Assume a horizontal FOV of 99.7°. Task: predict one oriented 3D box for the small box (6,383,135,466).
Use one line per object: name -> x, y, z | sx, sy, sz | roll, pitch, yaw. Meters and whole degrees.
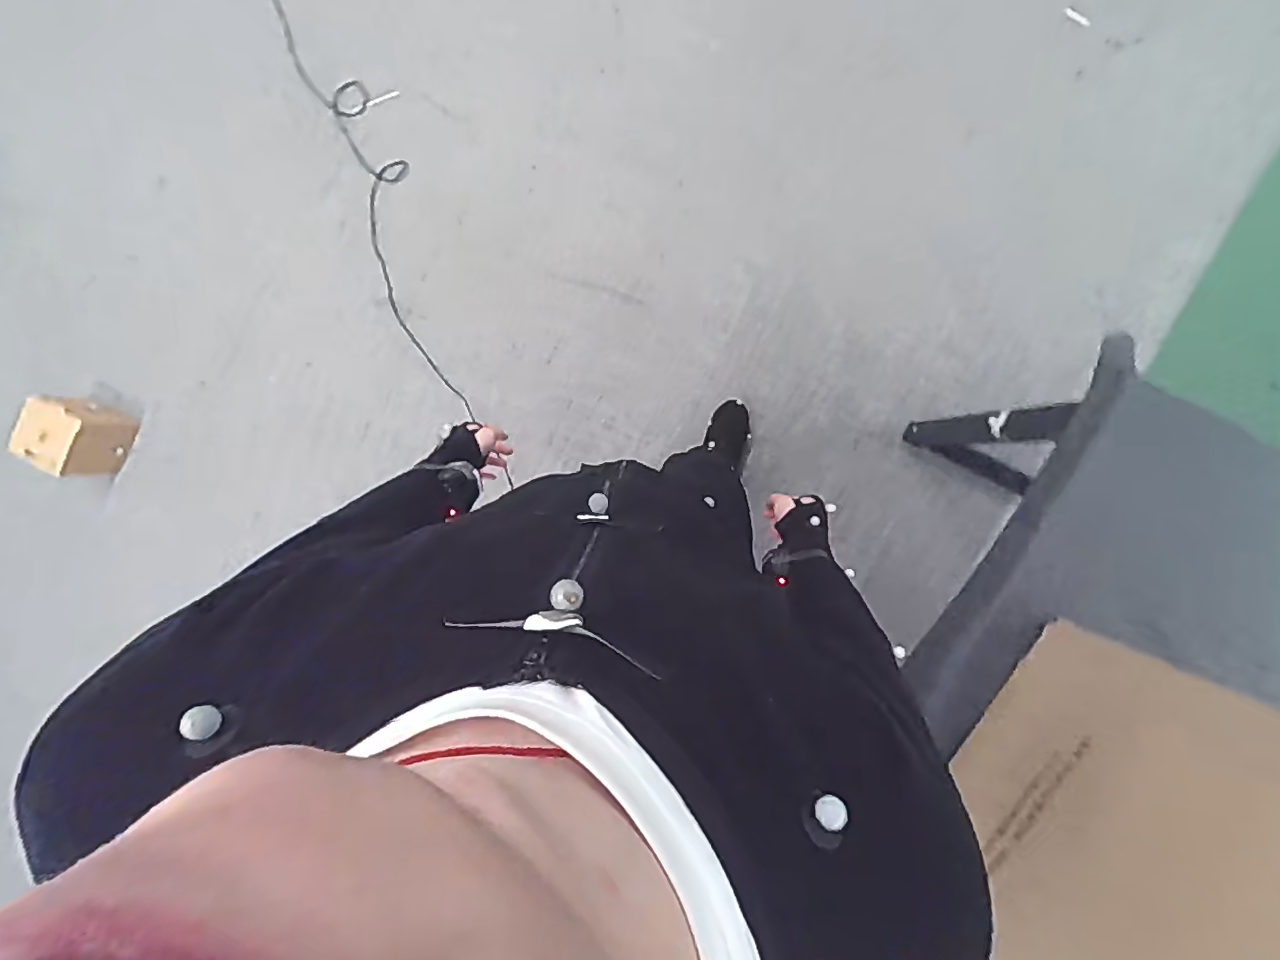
small box -> -1.614, -0.156, 1.546 | 0.168, 0.176, 0.179 | 30, 95, 1
